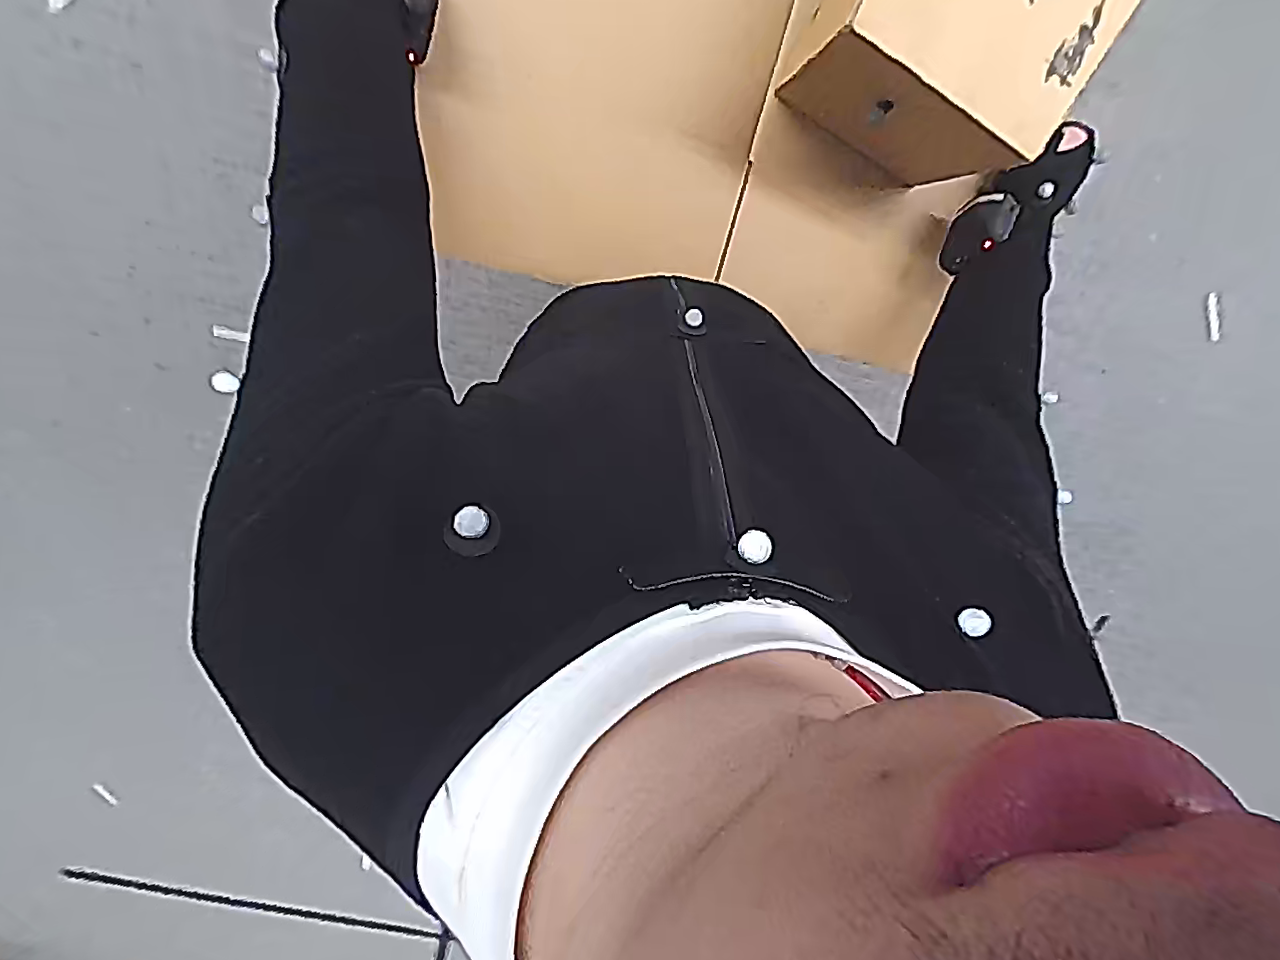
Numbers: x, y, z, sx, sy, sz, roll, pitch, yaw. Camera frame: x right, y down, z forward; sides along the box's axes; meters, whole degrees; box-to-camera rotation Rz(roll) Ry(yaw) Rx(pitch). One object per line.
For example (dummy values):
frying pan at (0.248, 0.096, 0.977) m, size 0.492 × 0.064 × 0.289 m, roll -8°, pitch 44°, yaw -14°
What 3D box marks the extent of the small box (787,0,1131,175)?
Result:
small box at (0.248, -0.377, 0.438) m, size 0.179 × 0.176 × 0.168 m, roll 25°, pitch 108°, yaw -13°
